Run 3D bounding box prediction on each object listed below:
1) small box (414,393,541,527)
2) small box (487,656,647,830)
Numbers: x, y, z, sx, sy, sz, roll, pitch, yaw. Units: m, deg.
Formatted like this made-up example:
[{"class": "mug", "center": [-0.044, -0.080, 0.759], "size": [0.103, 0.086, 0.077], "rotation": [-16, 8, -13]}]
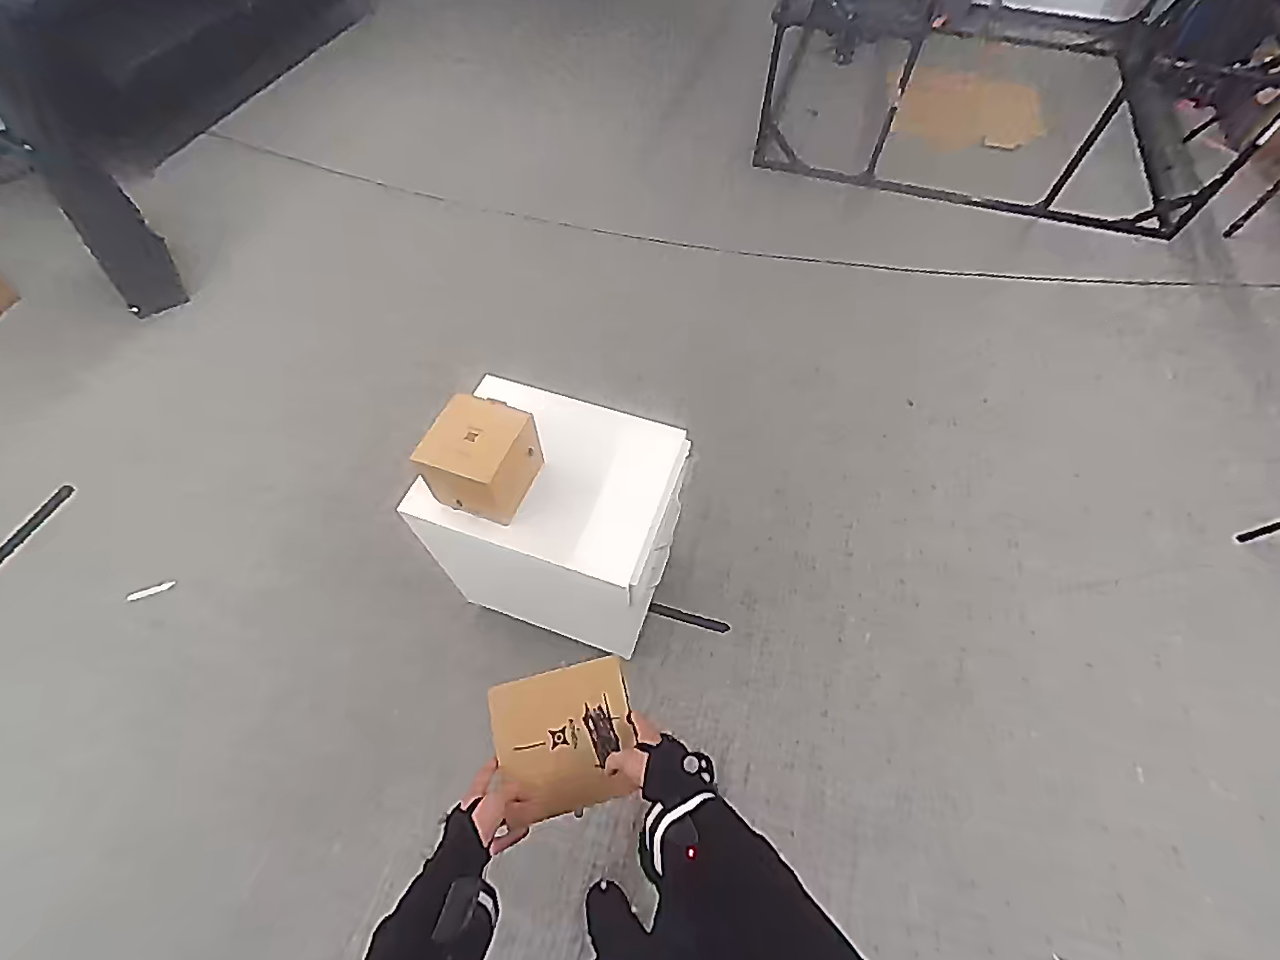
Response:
[{"class": "small box", "center": [-0.309, -0.037, 1.074], "size": [0.168, 0.176, 0.179], "rotation": [18, 59, 10]}, {"class": "small box", "center": [-0.097, 0.353, 0.748], "size": [0.179, 0.176, 0.168], "rotation": [-13, 66, -7]}]
